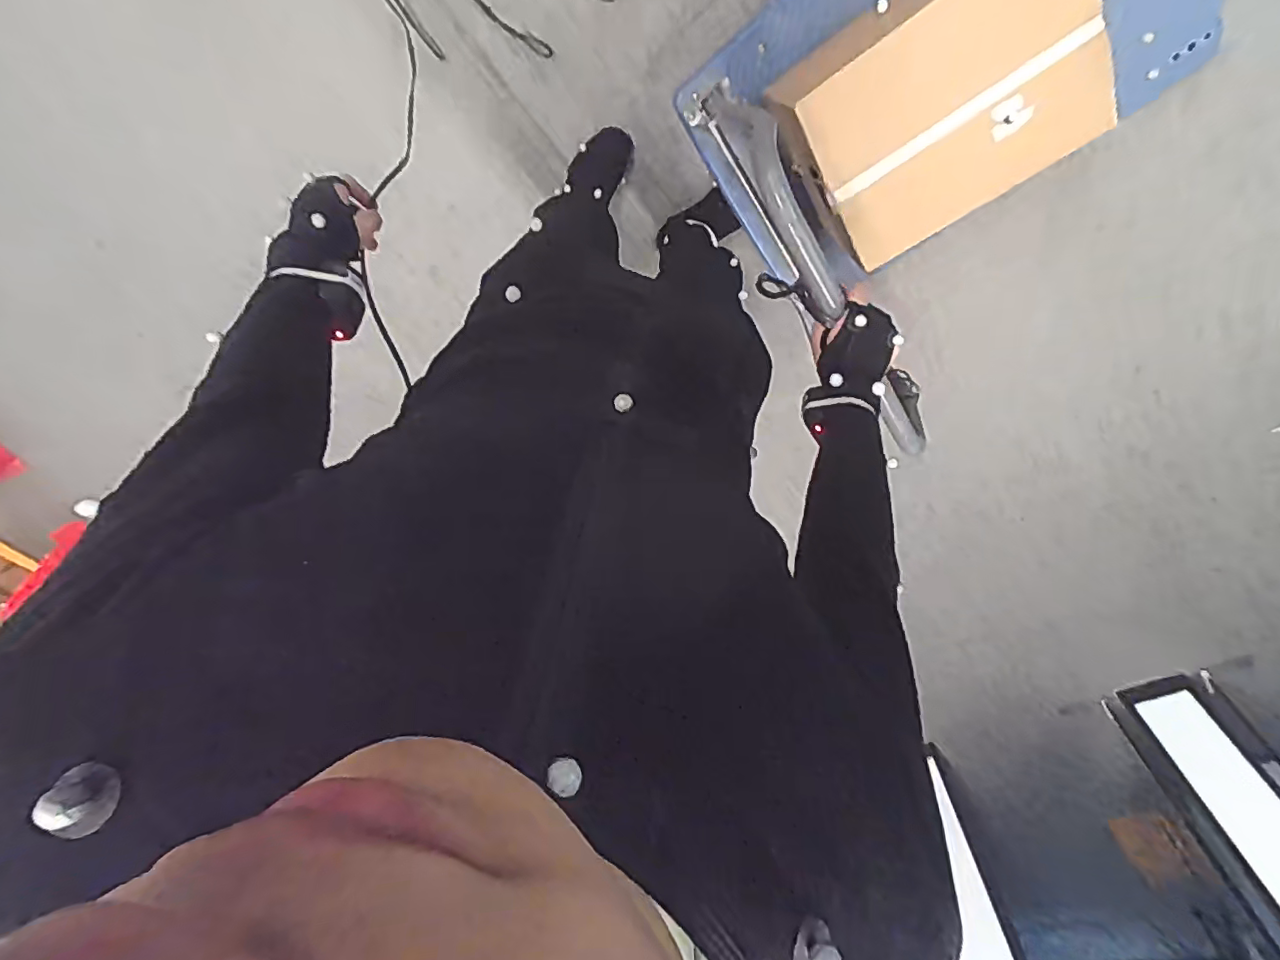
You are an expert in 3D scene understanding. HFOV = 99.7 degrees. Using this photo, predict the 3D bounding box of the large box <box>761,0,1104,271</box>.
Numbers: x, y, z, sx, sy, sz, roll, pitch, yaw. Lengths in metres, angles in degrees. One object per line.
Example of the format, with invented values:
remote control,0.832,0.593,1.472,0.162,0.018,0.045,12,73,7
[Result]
large box,0.481,-0.657,0.960,0.408,0.320,0.320,-28,124,21
